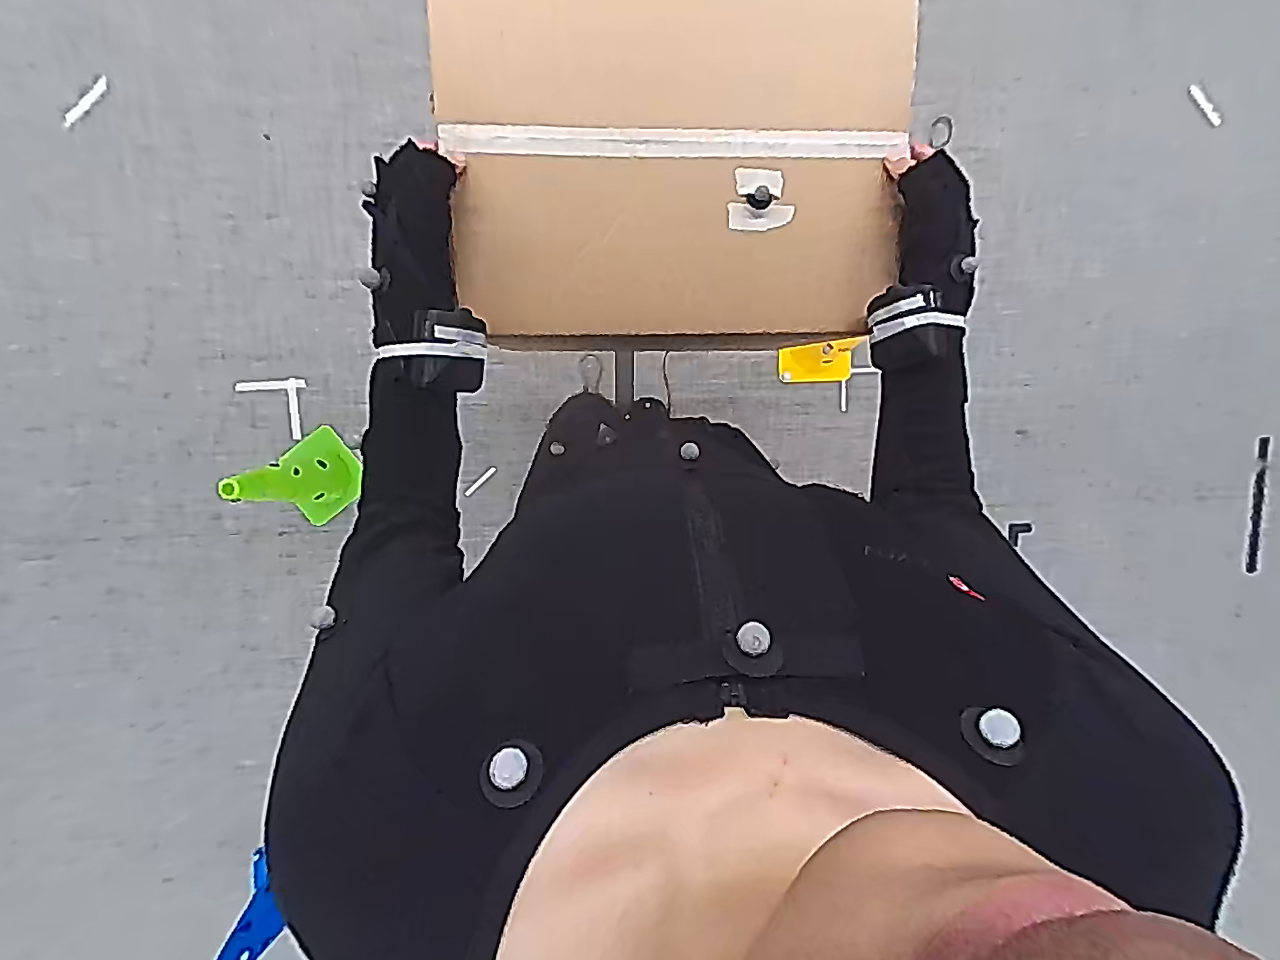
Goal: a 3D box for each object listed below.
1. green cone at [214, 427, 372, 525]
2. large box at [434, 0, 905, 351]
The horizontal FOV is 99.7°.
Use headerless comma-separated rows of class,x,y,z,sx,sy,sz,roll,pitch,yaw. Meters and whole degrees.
green cone,-0.825,0.004,1.243,0.202,0.368,0.200,-39,95,2
large box,0.019,-0.319,0.614,0.408,0.320,0.320,-2,101,-6
